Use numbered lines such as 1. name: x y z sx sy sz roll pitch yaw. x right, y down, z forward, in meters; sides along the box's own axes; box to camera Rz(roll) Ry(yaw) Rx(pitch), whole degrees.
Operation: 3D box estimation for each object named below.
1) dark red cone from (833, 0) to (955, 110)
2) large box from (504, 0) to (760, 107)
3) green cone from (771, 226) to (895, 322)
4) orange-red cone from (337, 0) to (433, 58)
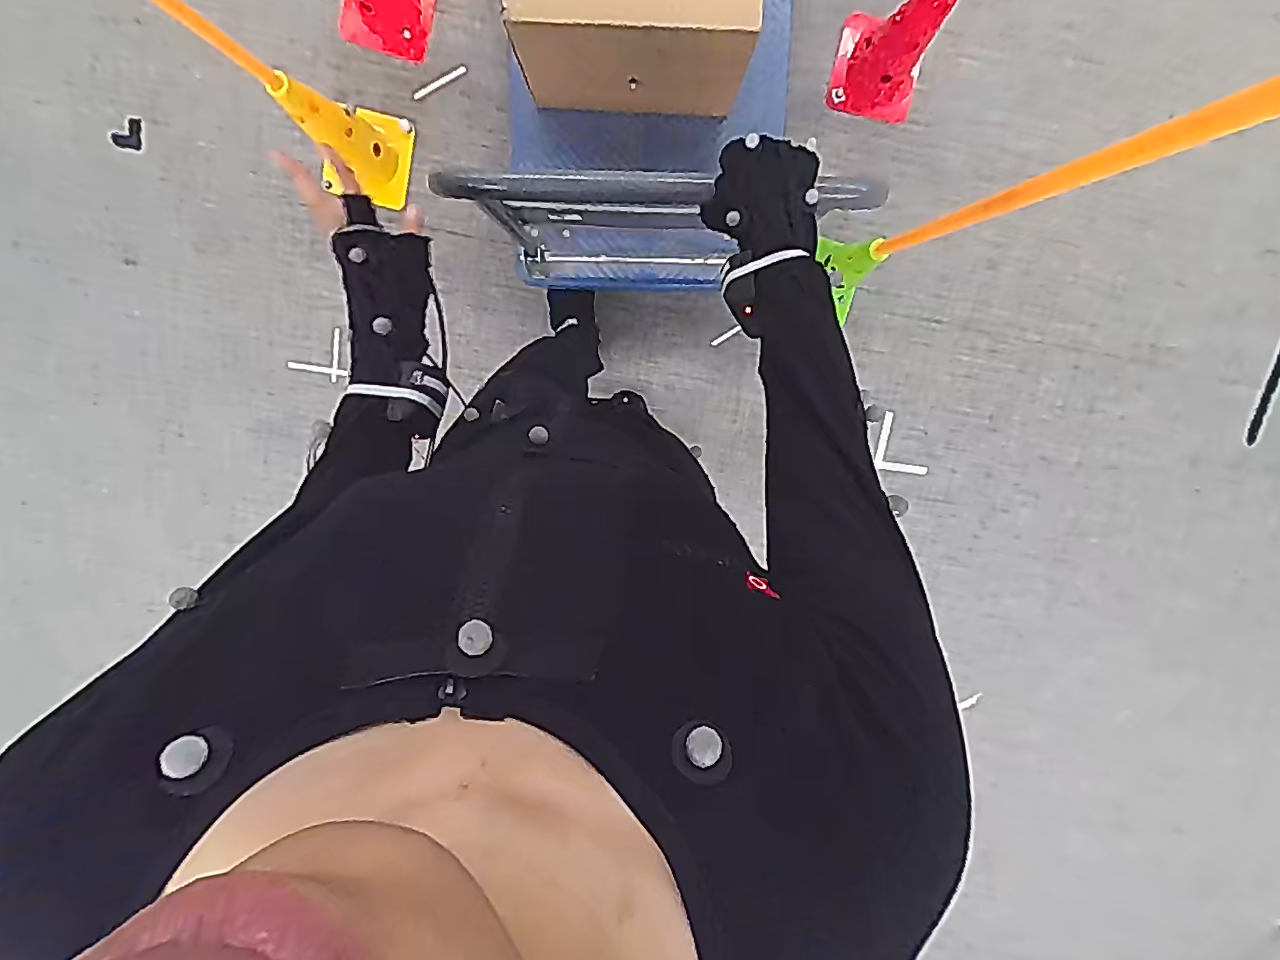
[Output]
1. dark red cone: 0.562 -0.938 1.079 0.201 0.394 0.202 10 102 -5
2. large box: -0.009 -0.894 0.952 0.408 0.320 0.320 2 103 0
3. green cone: 0.453 -0.480 1.196 0.202 0.368 0.200 14 102 -5
4. orange-red cone: -0.566 -1.056 1.056 0.198 0.360 0.199 17 100 -6
